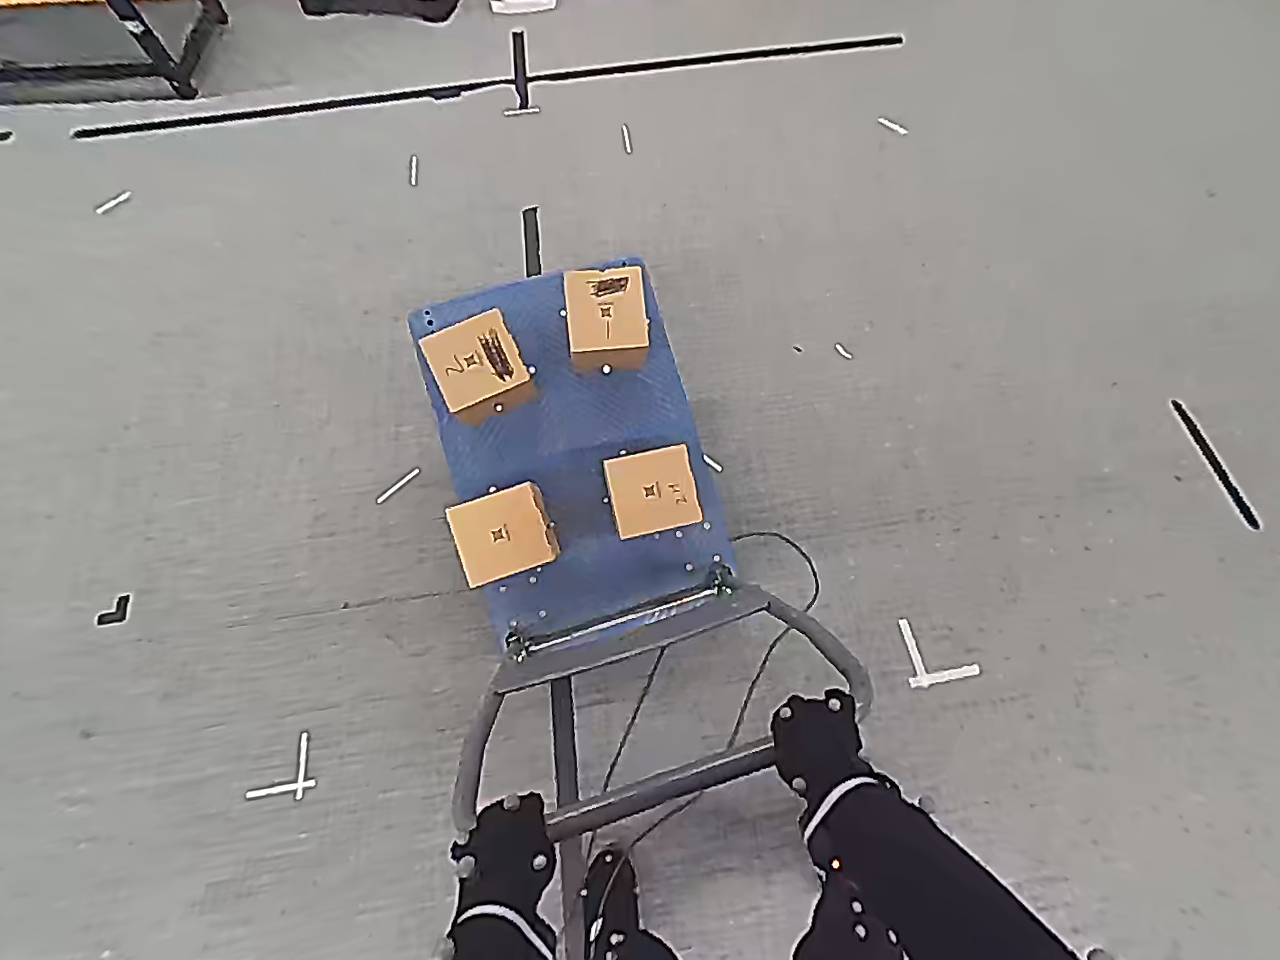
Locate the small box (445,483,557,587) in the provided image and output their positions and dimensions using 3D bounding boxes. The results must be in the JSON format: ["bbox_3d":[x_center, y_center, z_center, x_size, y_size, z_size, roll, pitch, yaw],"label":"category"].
[{"bbox_3d":[-0.285,0.116,1.145,0.179,0.176,0.168,-19,87,-8],"label":"small box"}]

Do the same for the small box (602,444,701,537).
[{"bbox_3d":[0.019,0.029,1.178,0.179,0.176,0.168,-12,87,-6],"label":"small box"}]

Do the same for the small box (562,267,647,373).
[{"bbox_3d":[-0.082,-0.349,1.201,0.168,0.176,0.179,-6,87,-5],"label":"small box"}]
